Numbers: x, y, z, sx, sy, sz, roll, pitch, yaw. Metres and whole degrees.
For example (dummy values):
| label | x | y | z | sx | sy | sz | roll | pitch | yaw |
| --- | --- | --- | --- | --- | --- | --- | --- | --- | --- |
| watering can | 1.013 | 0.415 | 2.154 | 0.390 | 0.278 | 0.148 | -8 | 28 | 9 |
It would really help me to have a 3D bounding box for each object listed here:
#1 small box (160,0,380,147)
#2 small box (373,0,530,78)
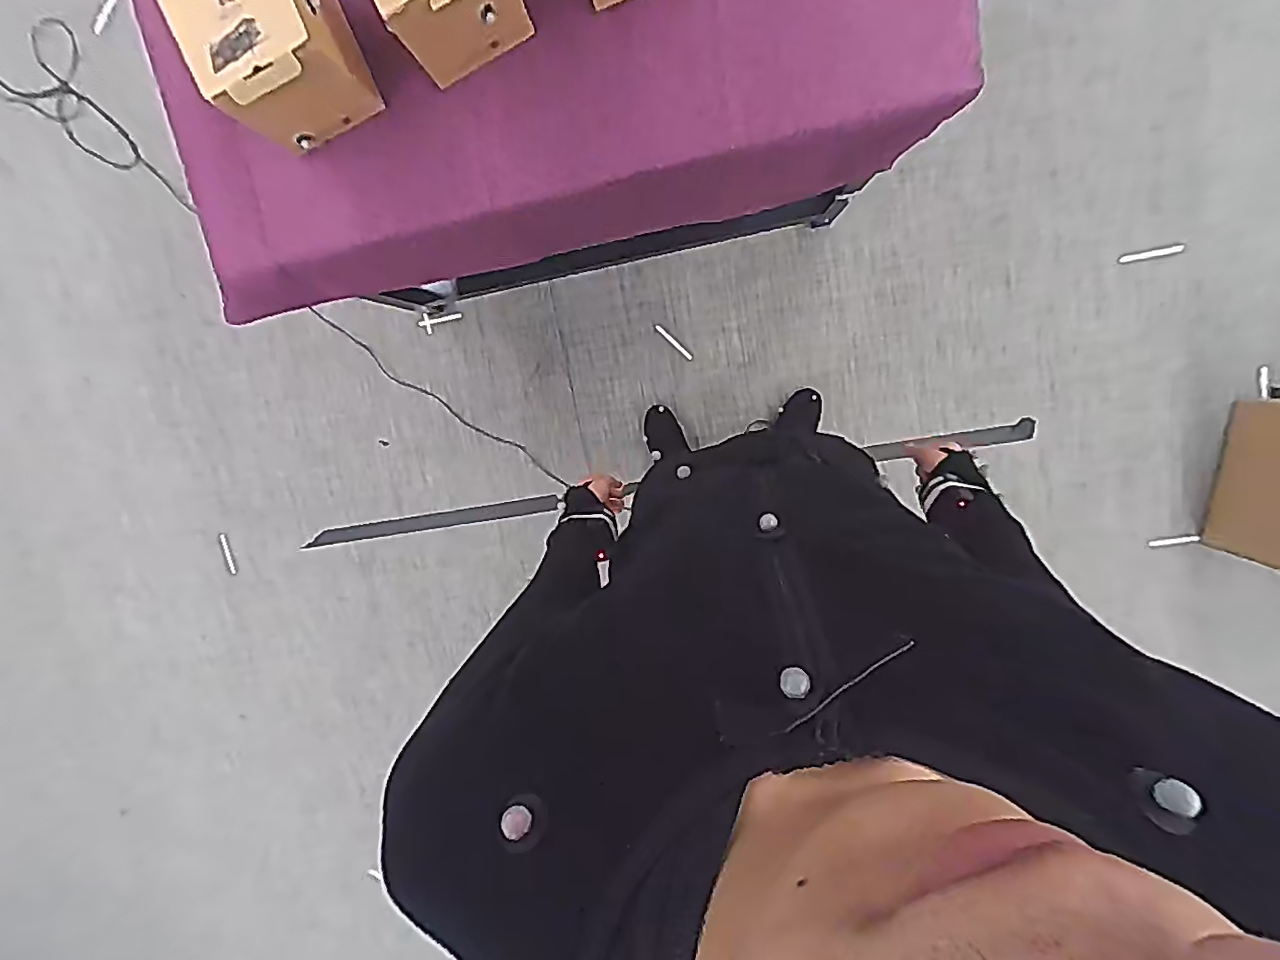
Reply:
| label | x | y | z | sx | sy | sz | roll | pitch | yaw |
| --- | --- | --- | --- | --- | --- | --- | --- | --- | --- |
| small box | -0.505 | -0.604 | 0.756 | 0.168 | 0.176 | 0.179 | -22 | 97 | 8 |
| small box | -0.270 | -0.687 | 0.723 | 0.168 | 0.176 | 0.179 | -23 | 97 | 8 |
